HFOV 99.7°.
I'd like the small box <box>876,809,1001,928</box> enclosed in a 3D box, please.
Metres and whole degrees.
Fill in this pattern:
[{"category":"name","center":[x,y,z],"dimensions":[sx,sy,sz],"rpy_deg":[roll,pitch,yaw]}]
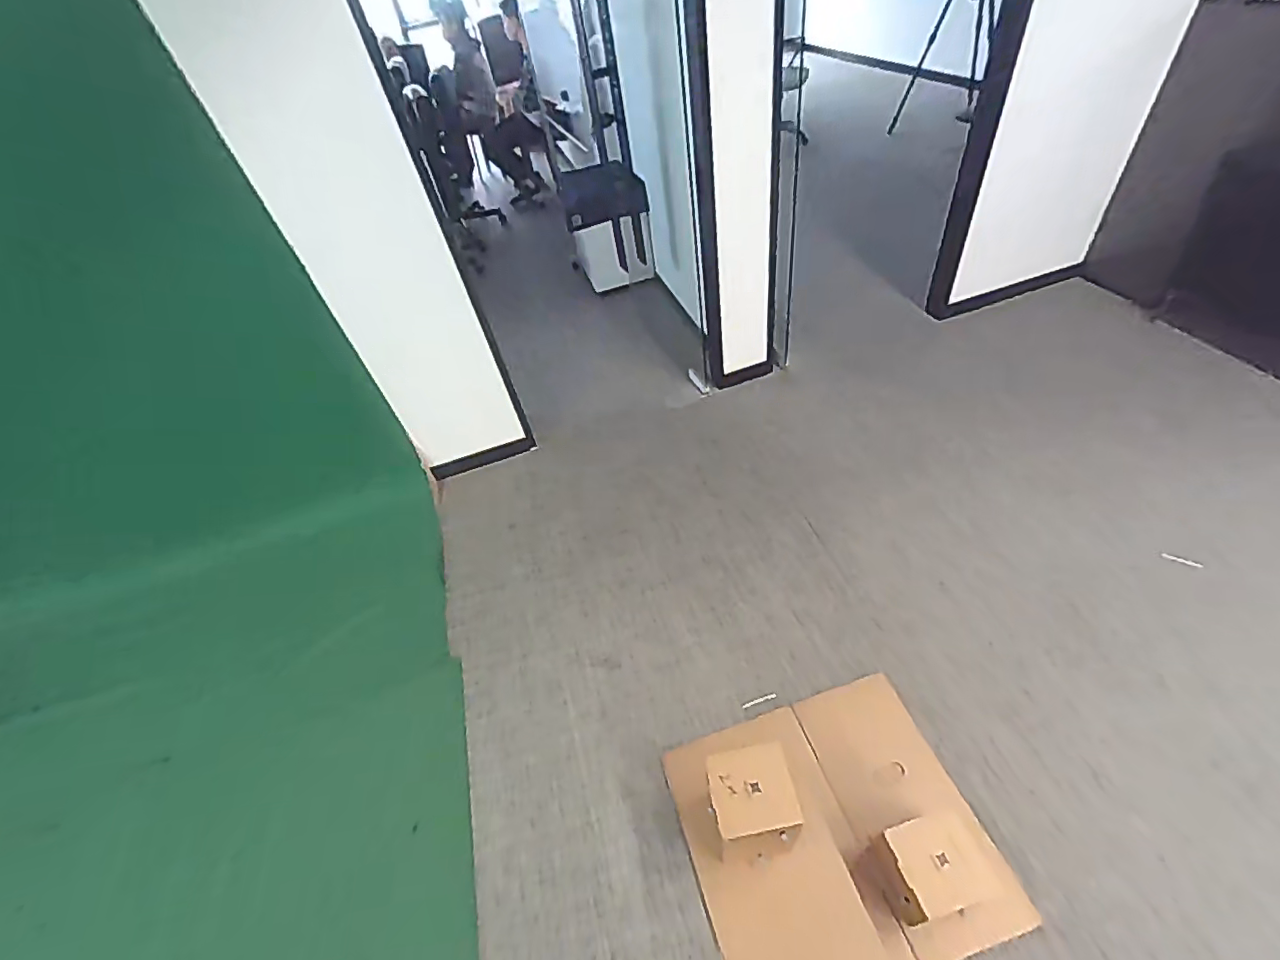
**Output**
[{"category":"small box","center":[0.650,0.870,1.207],"dimensions":[0.179,0.176,0.168],"rpy_deg":[-17,46,-4]}]

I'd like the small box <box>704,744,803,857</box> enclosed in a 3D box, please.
[{"category":"small box","center":[0.246,0.715,1.203],"dimensions":[0.179,0.176,0.168],"rpy_deg":[-12,45,0]}]

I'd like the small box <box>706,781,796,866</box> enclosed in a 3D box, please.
[{"category":"small box","center":[0.265,0.824,1.326],"dimensions":[0.179,0.176,0.168],"rpy_deg":[-11,45,0]}]
